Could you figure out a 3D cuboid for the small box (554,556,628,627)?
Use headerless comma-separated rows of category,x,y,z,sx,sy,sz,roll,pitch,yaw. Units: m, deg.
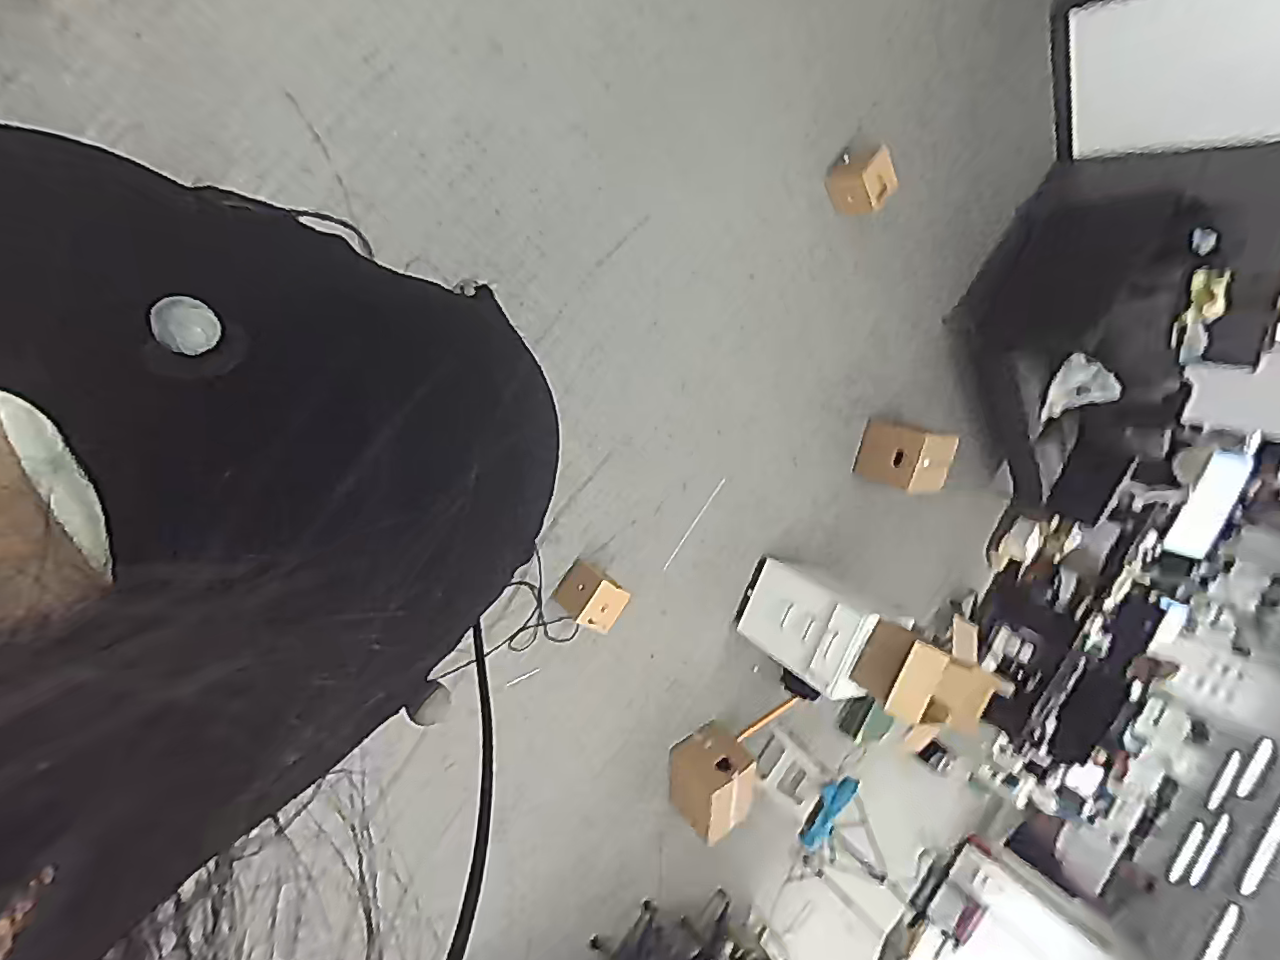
small box,-0.182,0.400,1.962,0.168,0.176,0.179,37,84,-43

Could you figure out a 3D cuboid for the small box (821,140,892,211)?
small box,0.834,-1.172,2.088,0.168,0.176,0.179,-54,133,-6
